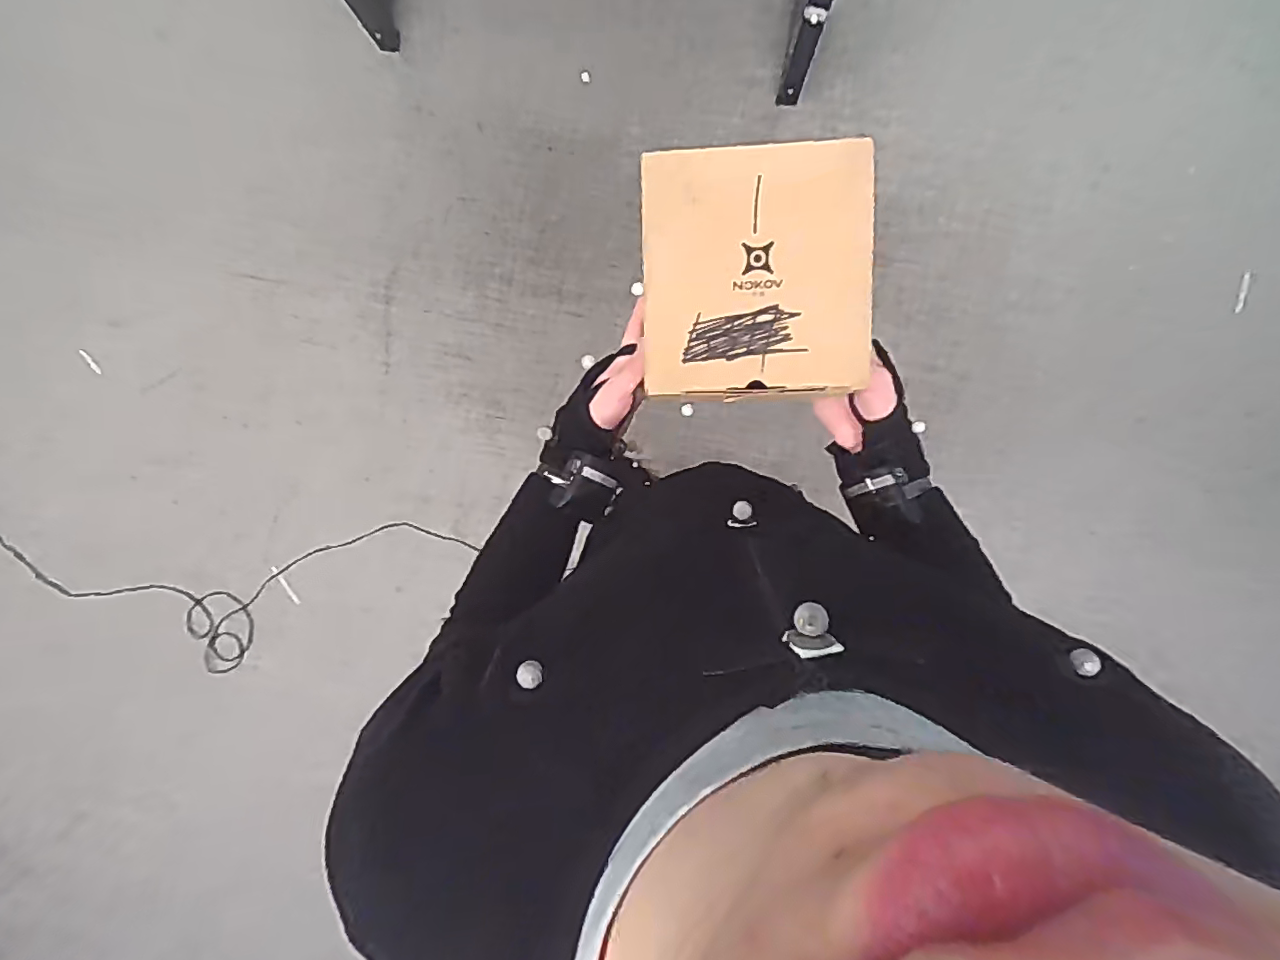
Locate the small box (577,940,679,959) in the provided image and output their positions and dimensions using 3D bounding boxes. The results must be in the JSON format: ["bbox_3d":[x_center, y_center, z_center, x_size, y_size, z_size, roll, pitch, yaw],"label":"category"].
[{"bbox_3d":[-0.022,0.813,0.764,0.168,0.176,0.179,3,93,3],"label":"small box"}]

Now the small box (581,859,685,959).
[{"bbox_3d":[-0.012,0.804,0.927,0.168,0.176,0.179,6,95,3],"label":"small box"}]

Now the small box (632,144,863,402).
[{"bbox_3d":[0.083,-0.159,0.474,0.168,0.176,0.179,0,95,5],"label":"small box"}]
